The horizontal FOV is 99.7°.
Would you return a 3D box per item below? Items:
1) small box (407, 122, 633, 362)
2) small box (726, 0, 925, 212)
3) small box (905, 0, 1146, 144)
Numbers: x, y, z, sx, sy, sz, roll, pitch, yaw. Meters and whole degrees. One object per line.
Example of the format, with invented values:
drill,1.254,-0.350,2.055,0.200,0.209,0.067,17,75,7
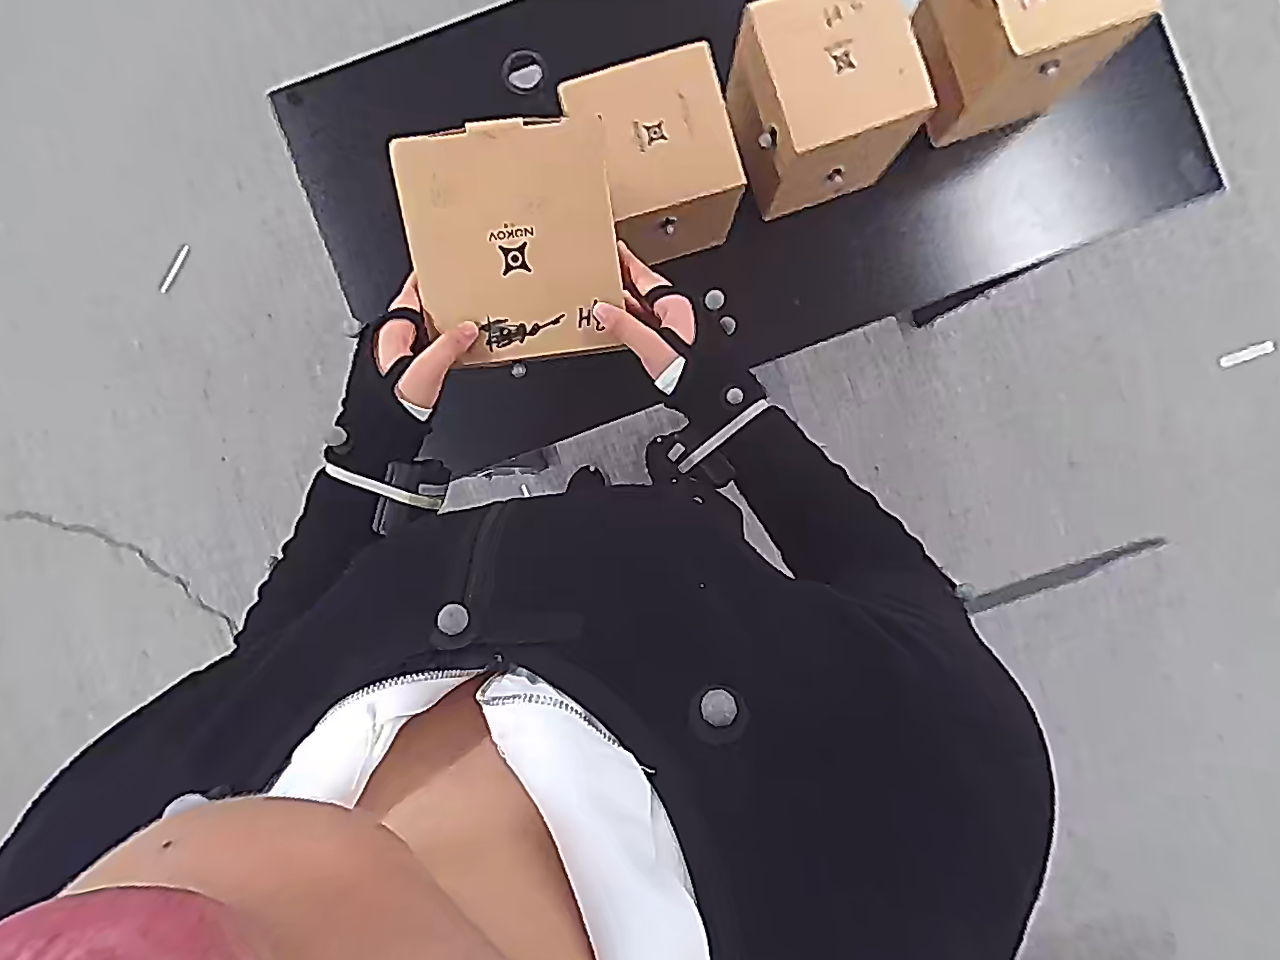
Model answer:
small box,-0.098,-0.208,0.519,0.168,0.176,0.179,-6,104,0
small box,0.222,-0.473,0.691,0.168,0.176,0.179,-19,90,0
small box,0.464,-0.572,0.688,0.179,0.176,0.168,-19,90,0
